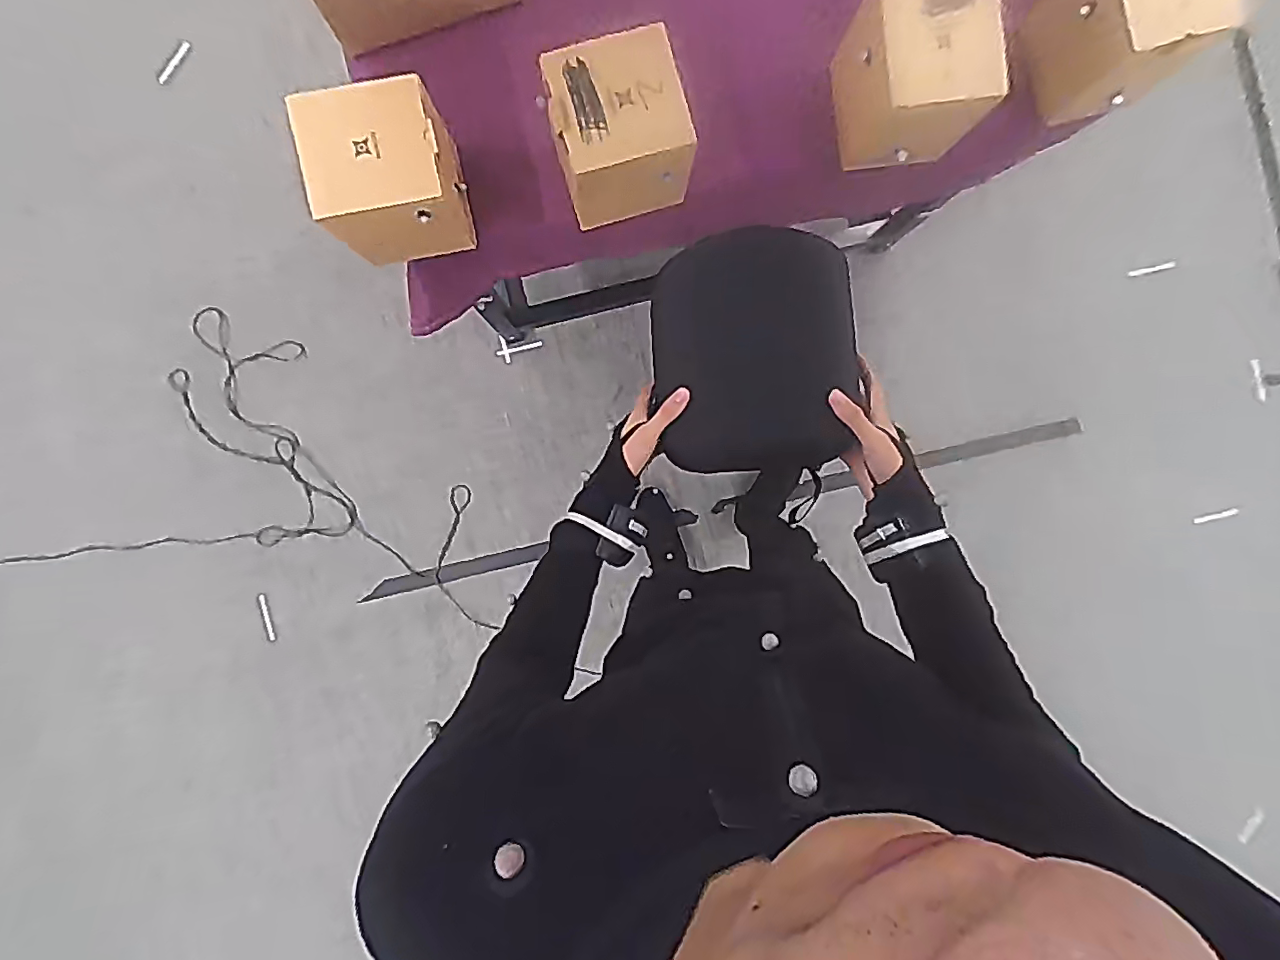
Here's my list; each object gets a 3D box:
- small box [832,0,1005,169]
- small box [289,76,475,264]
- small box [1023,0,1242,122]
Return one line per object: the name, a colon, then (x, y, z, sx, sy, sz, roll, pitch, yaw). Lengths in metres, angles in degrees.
small box: (0.404, -0.605, 0.811, 0.168, 0.176, 0.179, -8, 93, -2)
small box: (-0.361, -0.435, 0.787, 0.179, 0.176, 0.168, -13, 92, -3)
small box: (0.726, -0.693, 0.818, 0.168, 0.176, 0.179, -15, 92, -1)
